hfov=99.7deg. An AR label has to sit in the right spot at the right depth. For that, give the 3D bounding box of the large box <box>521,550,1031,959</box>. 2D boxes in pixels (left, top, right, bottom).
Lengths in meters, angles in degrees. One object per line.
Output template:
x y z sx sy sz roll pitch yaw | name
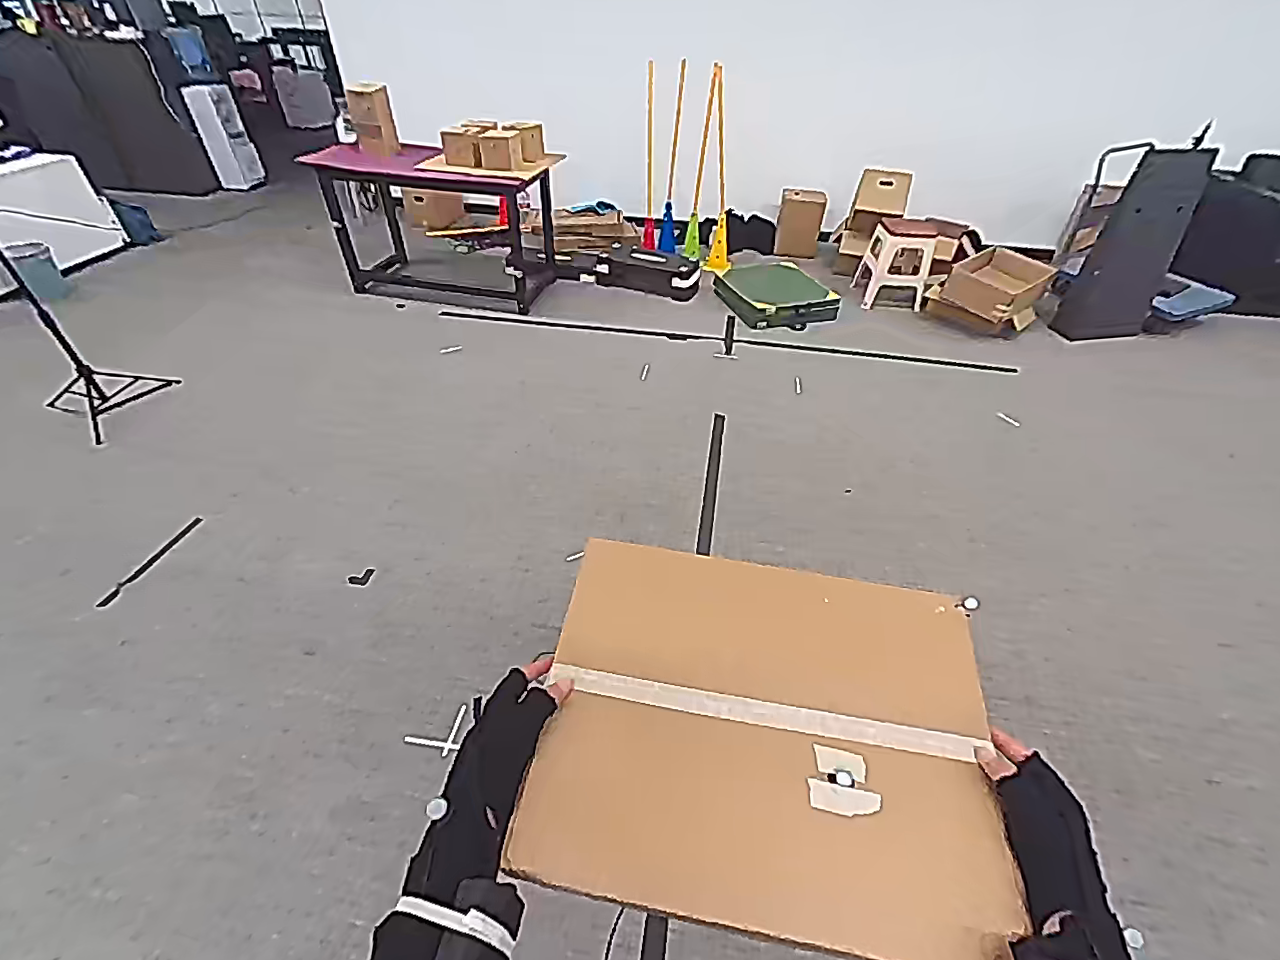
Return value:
0.116 0.316 0.623 0.408 0.320 0.320 9 53 5 | large box
